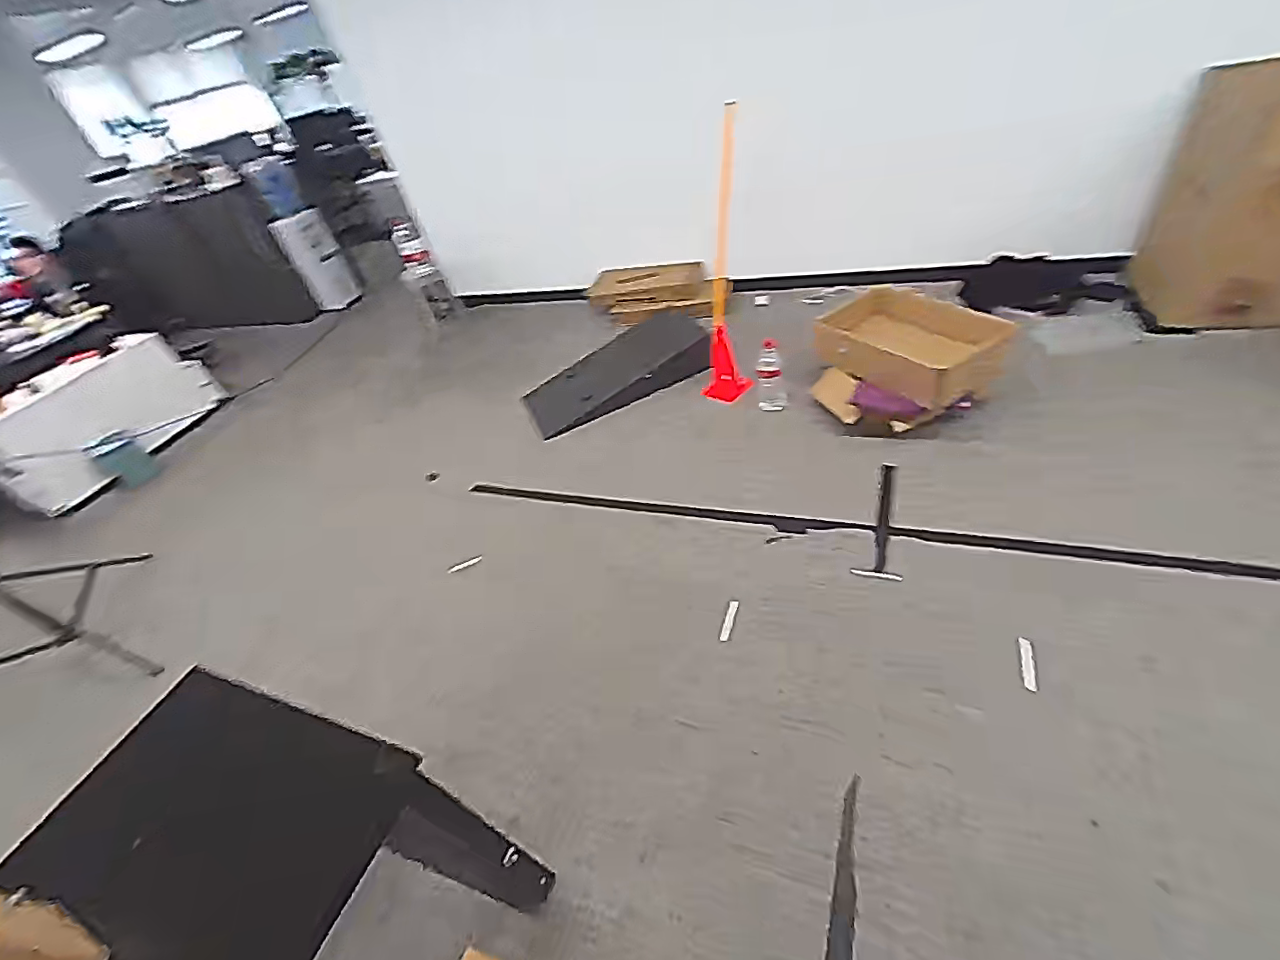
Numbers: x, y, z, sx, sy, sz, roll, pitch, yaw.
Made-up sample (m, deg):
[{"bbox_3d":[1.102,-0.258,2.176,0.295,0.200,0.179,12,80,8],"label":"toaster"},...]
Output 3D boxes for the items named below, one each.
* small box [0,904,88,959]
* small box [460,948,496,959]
[{"bbox_3d":[-0.829,0.631,0.642,0.168,0.176,0.179,4,46,24],"label":"small box"},{"bbox_3d":[-0.290,1.082,1.076,0.179,0.176,0.168,4,45,23],"label":"small box"}]
